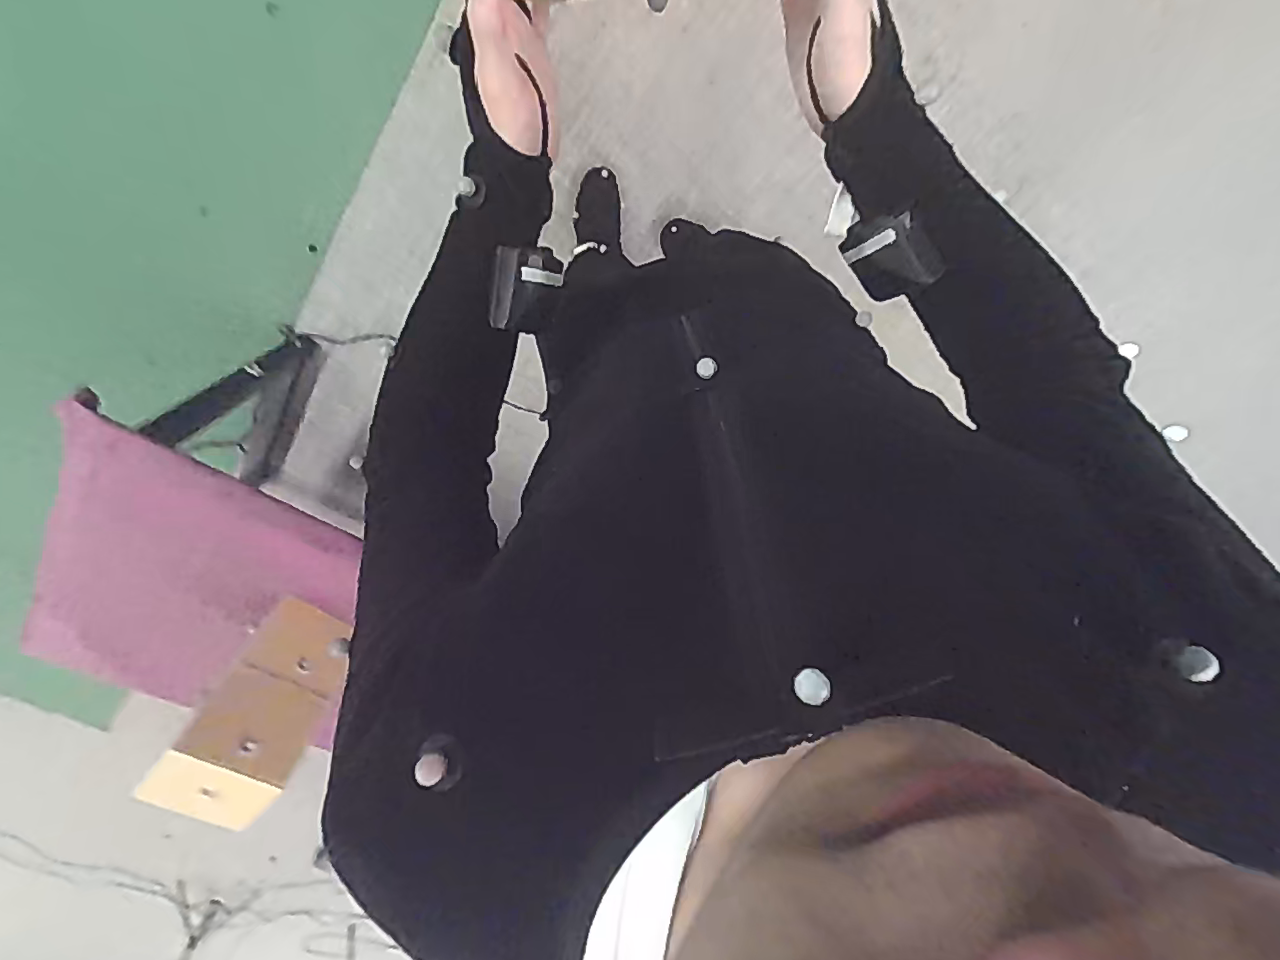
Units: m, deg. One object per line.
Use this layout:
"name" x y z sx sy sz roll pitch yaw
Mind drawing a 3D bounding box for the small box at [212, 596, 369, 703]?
"small box" -0.674 0.361 1.065 0.179 0.176 0.168 39 113 -22

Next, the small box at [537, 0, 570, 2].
"small box" -0.003 -0.383 0.292 0.179 0.176 0.168 -6 128 5

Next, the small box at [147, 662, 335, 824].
"small box" -0.667 0.445 0.926 0.179 0.176 0.168 38 113 -22
